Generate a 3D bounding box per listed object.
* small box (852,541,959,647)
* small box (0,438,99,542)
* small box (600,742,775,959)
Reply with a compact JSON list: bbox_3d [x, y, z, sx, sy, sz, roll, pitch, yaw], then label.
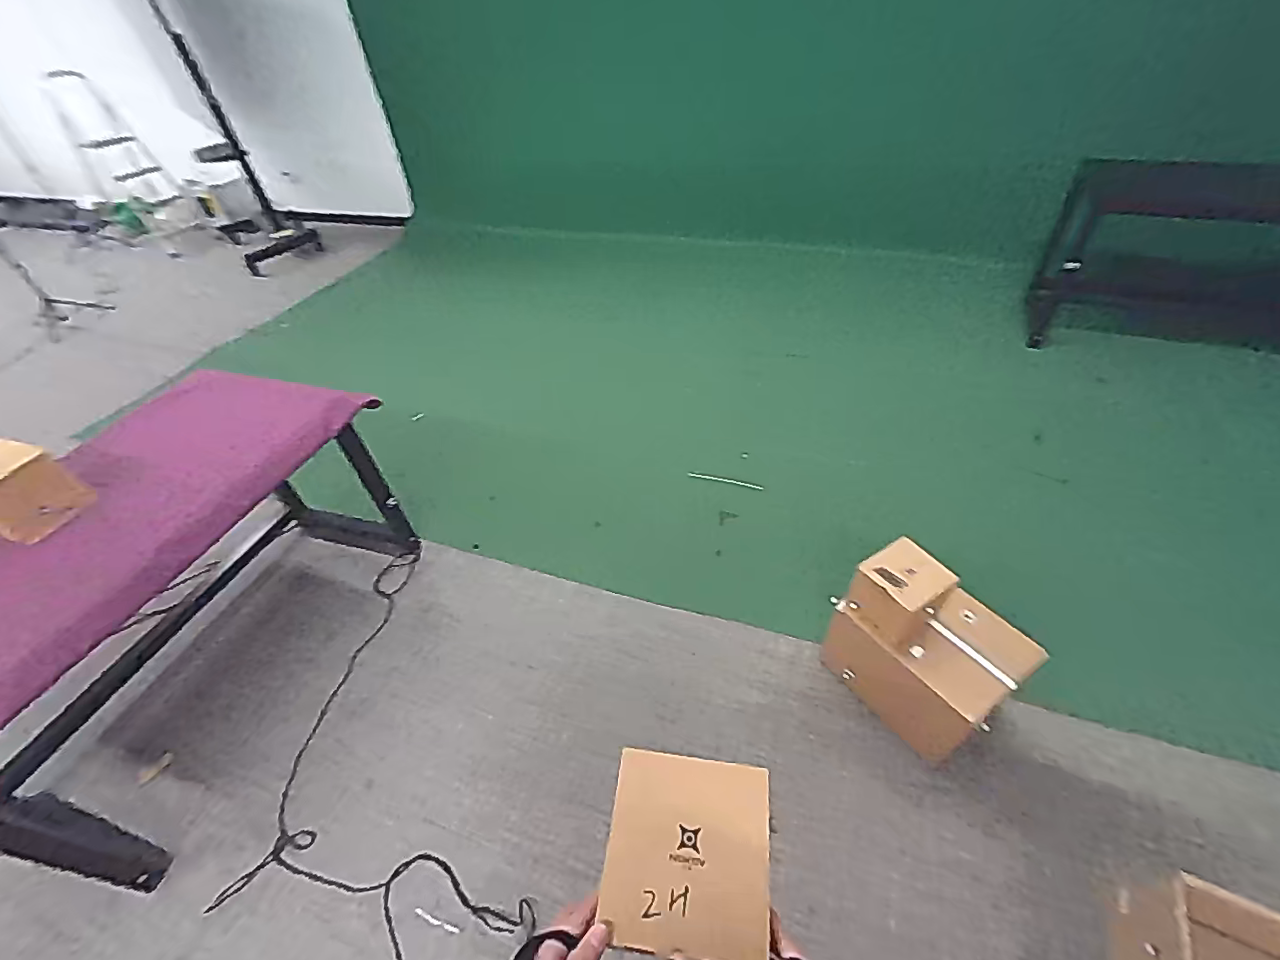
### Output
[{"bbox_3d":[0.672,0.296,1.393,0.179,0.176,0.168,-25,48,-19],"label":"small box"},{"bbox_3d":[-1.483,0.026,1.292,0.179,0.176,0.168,12,46,16],"label":"small box"},{"bbox_3d":[0.057,0.423,0.611,0.168,0.176,0.179,4,49,8],"label":"small box"}]
